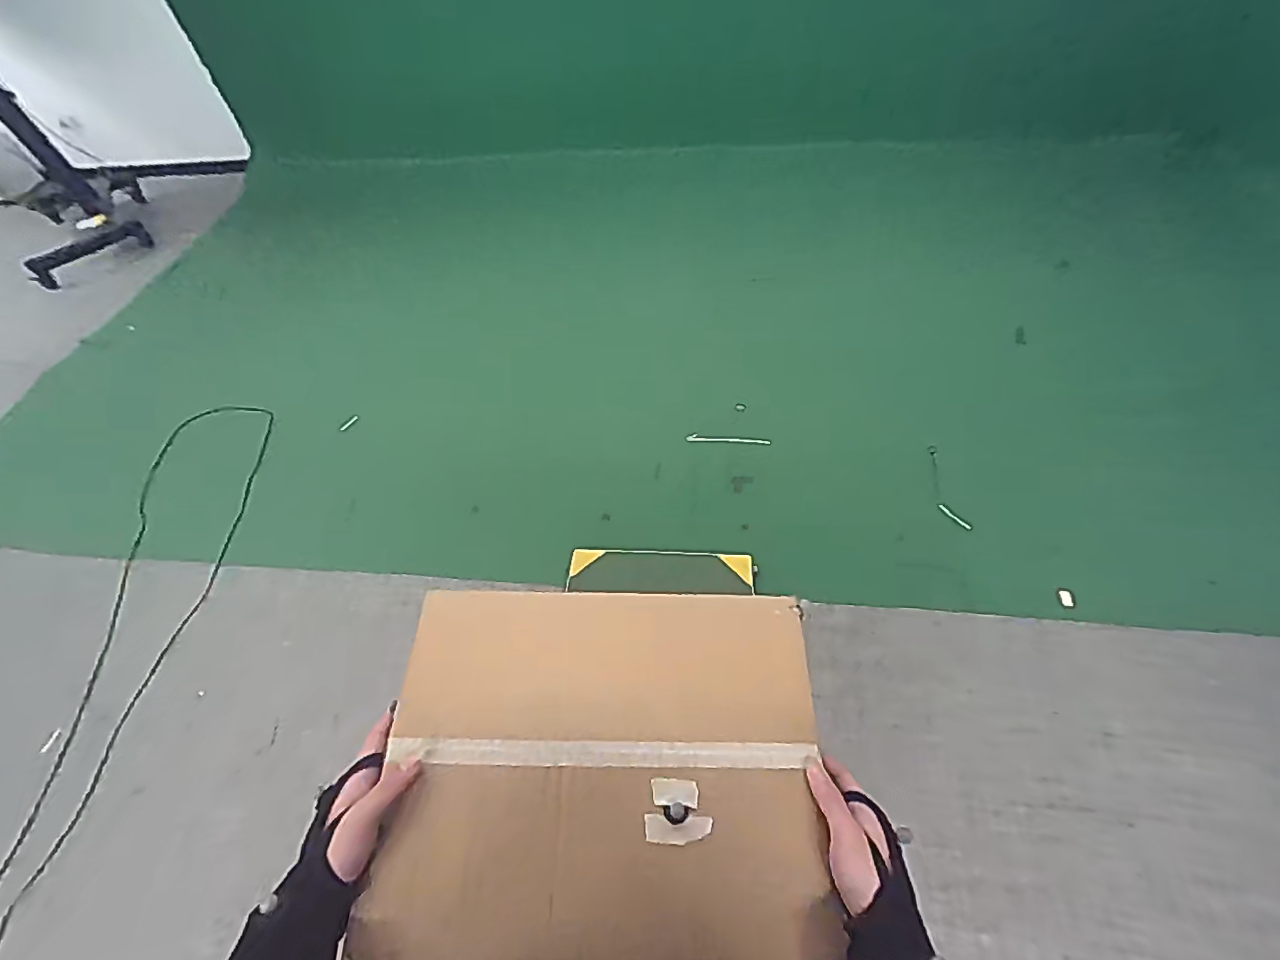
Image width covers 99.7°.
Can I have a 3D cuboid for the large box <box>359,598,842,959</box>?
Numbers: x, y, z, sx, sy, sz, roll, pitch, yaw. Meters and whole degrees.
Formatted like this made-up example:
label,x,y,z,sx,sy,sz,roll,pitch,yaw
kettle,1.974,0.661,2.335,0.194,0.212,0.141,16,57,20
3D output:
label,x,y,z,sx,sy,sz,roll,pitch,yaw
large box,-0.035,0.343,0.642,0.408,0.320,0.320,1,58,0
